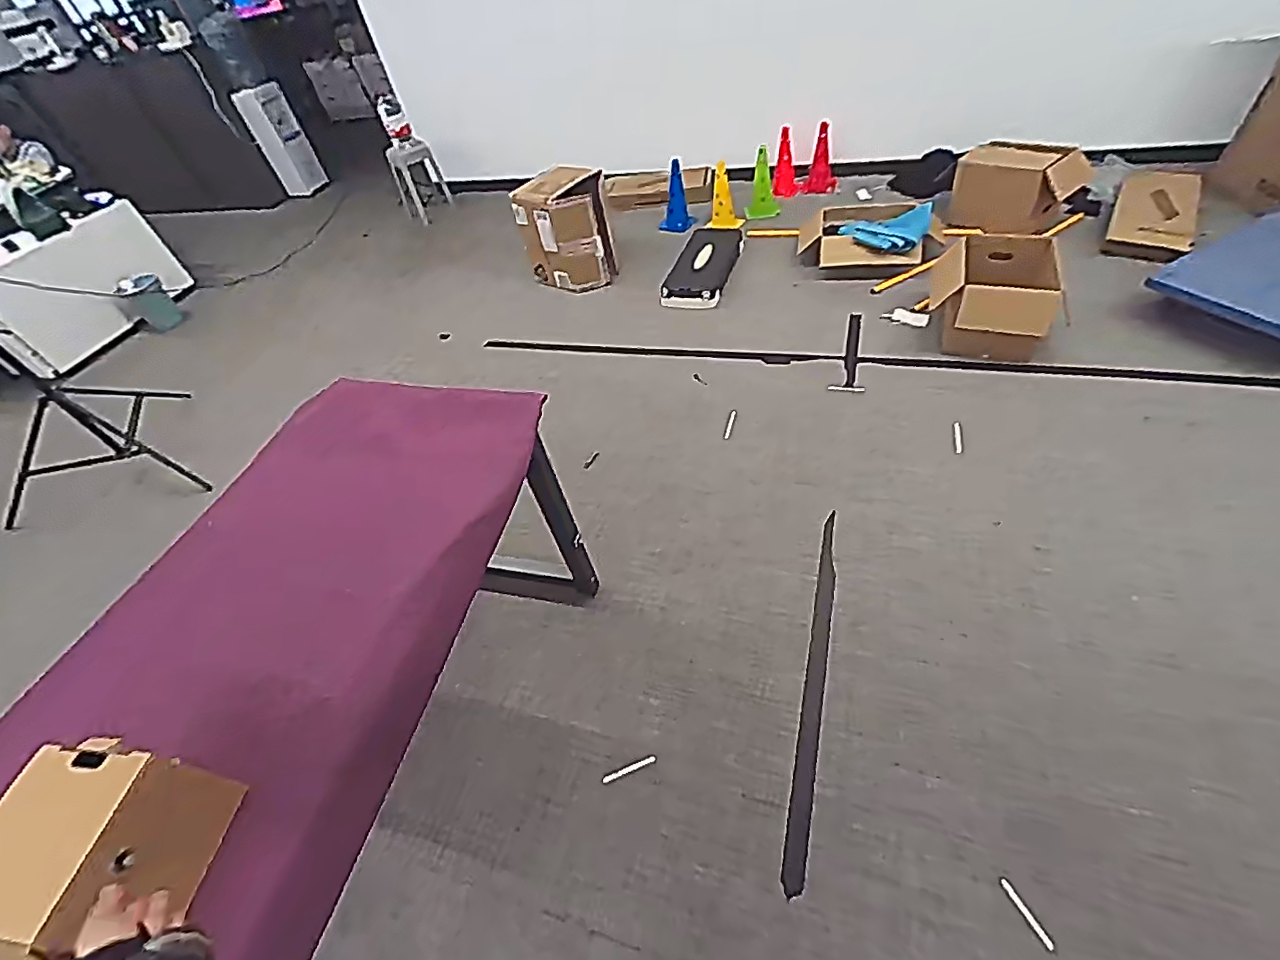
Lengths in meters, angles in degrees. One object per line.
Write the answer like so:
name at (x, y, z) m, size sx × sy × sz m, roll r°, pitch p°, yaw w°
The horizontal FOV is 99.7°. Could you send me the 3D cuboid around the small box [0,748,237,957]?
small box at (-0.637, 0.438, 0.638) m, size 0.168 × 0.176 × 0.179 m, roll -1°, pitch 48°, yaw 10°
